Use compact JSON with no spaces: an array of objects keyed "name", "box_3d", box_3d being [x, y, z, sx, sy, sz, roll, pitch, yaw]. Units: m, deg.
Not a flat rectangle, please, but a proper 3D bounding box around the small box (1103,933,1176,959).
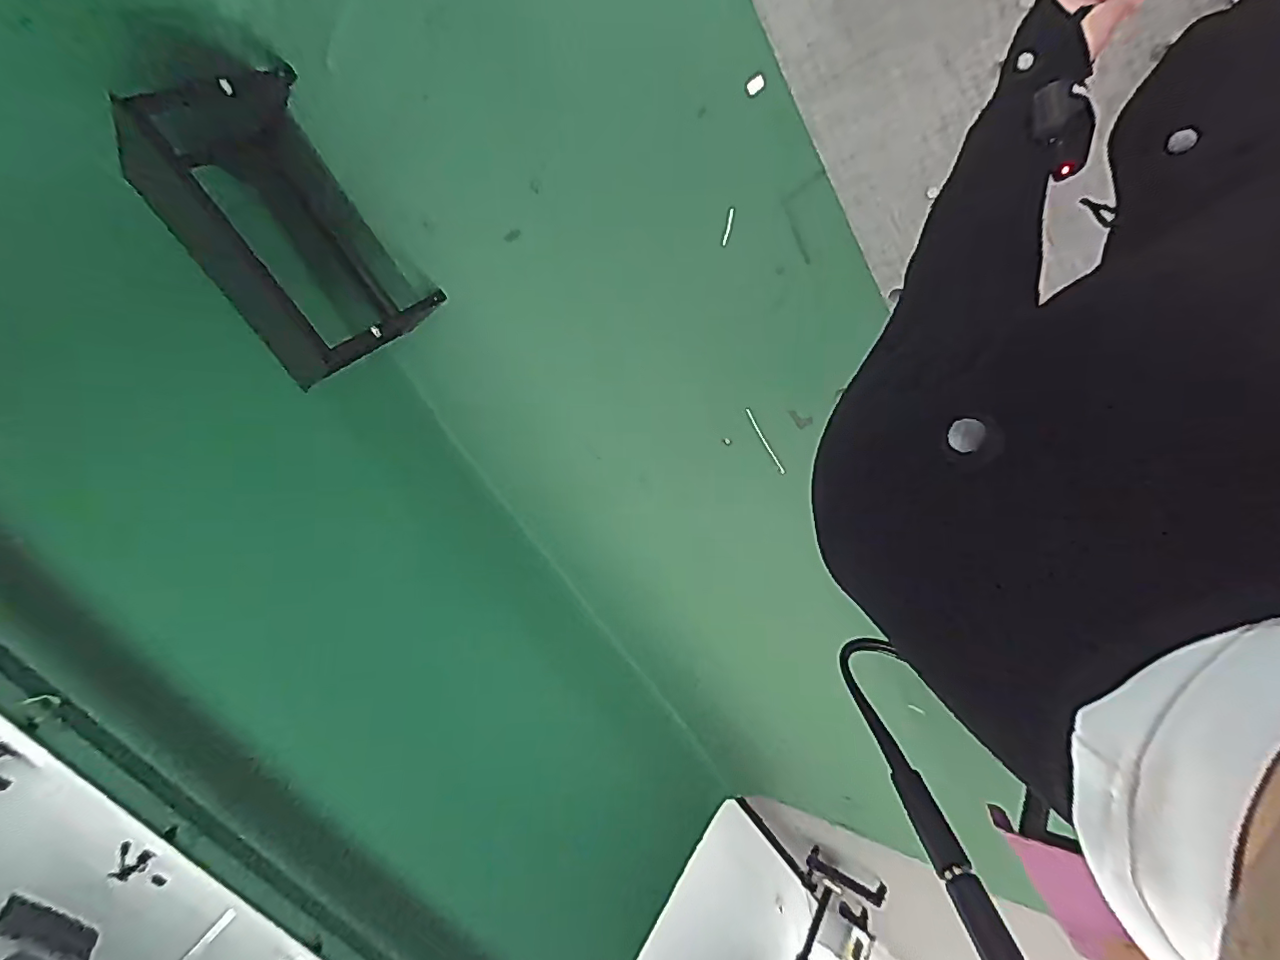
[{"name":"small box","box_3d":[1.364,1.376,1.443,0.168,0.176,0.179,-13,117,51]}]
